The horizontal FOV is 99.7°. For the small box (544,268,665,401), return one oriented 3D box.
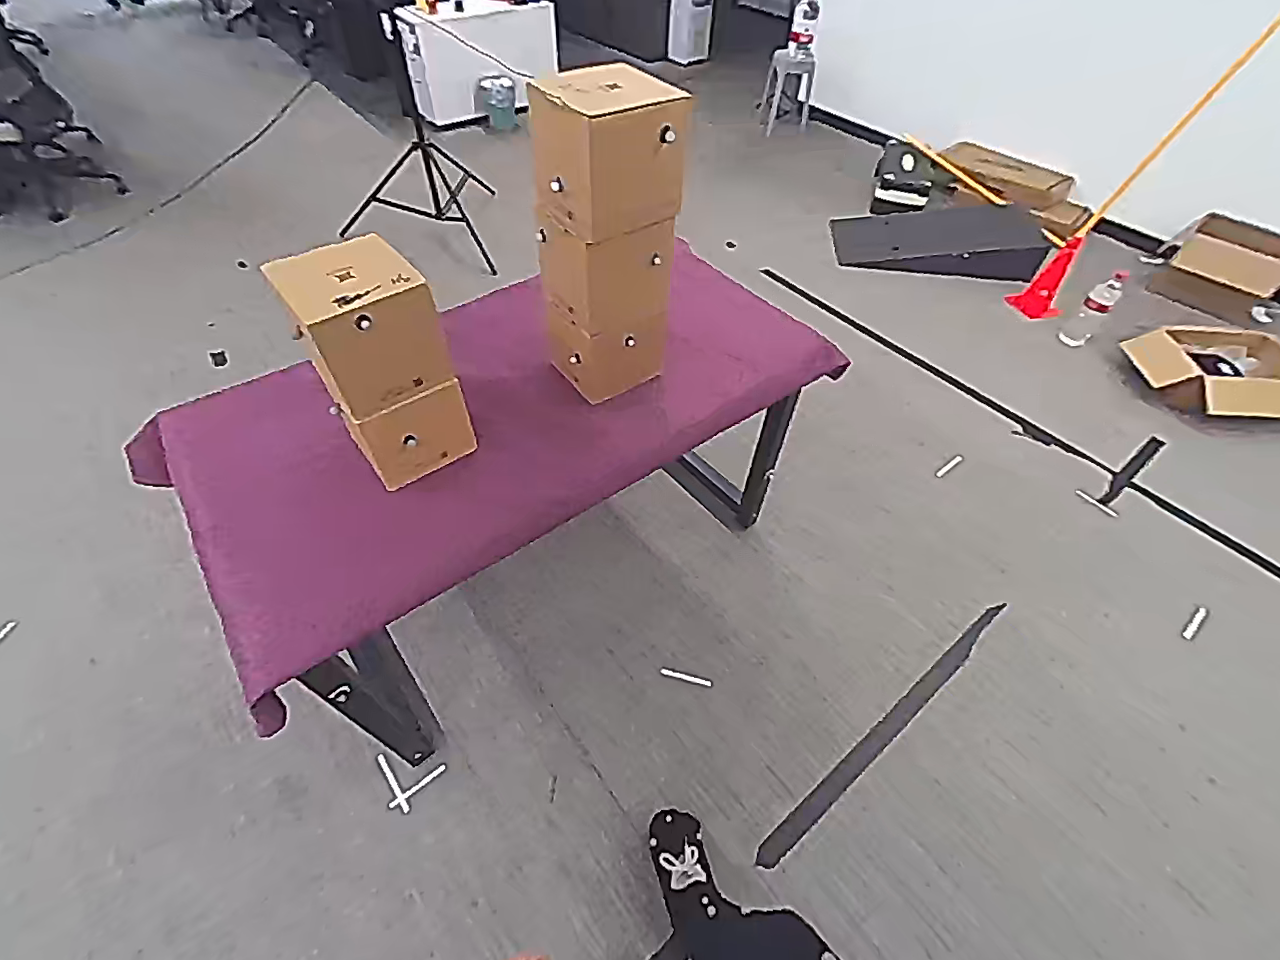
[{"bbox_3d":[-0.068,-0.285,1.073,0.179,0.176,0.168,-29,58,-24],"label":"small box"}]

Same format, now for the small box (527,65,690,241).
[{"bbox_3d":[-0.049,-0.494,0.818,0.179,0.176,0.168,-30,58,-23],"label":"small box"}]

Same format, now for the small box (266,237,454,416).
[{"bbox_3d":[-0.405,-0.226,0.802,0.168,0.176,0.179,-34,58,-25],"label":"small box"}]

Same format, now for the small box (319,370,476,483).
[{"bbox_3d":[-0.405,-0.118,0.926,0.168,0.176,0.179,-32,58,-24],"label":"small box"}]
